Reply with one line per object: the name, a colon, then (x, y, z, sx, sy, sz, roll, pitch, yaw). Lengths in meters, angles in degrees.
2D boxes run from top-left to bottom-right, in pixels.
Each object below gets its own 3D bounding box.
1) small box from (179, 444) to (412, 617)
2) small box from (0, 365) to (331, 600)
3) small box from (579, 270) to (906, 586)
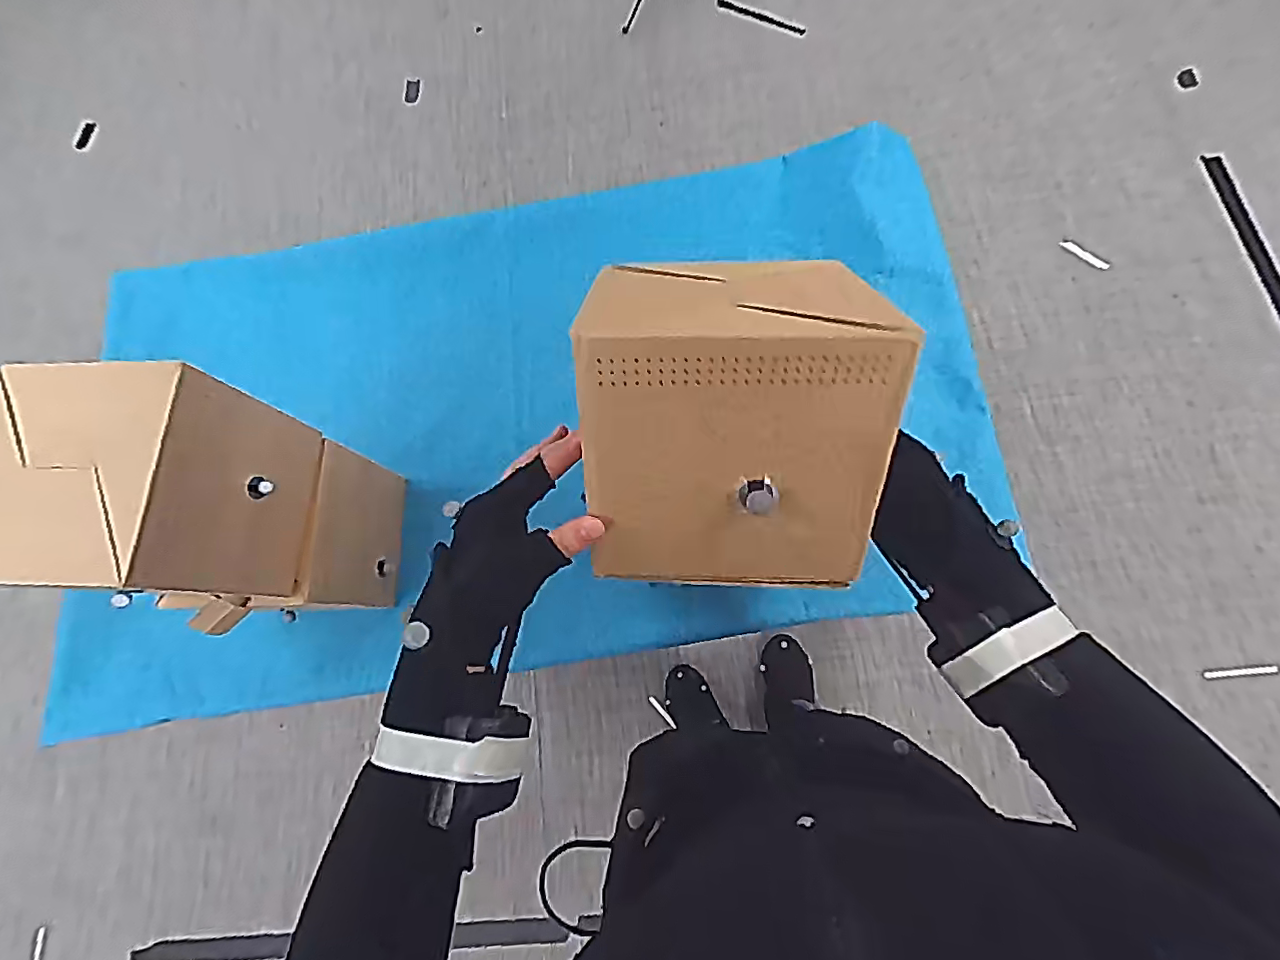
small box: (-0.397, 0.068, 0.644, 0.168, 0.176, 0.179, -3, 75, 5)
small box: (-0.423, 0.014, 0.490, 0.168, 0.176, 0.179, 0, 76, 6)
small box: (0.060, -0.044, 0.381, 0.179, 0.176, 0.168, 0, 34, 3)
